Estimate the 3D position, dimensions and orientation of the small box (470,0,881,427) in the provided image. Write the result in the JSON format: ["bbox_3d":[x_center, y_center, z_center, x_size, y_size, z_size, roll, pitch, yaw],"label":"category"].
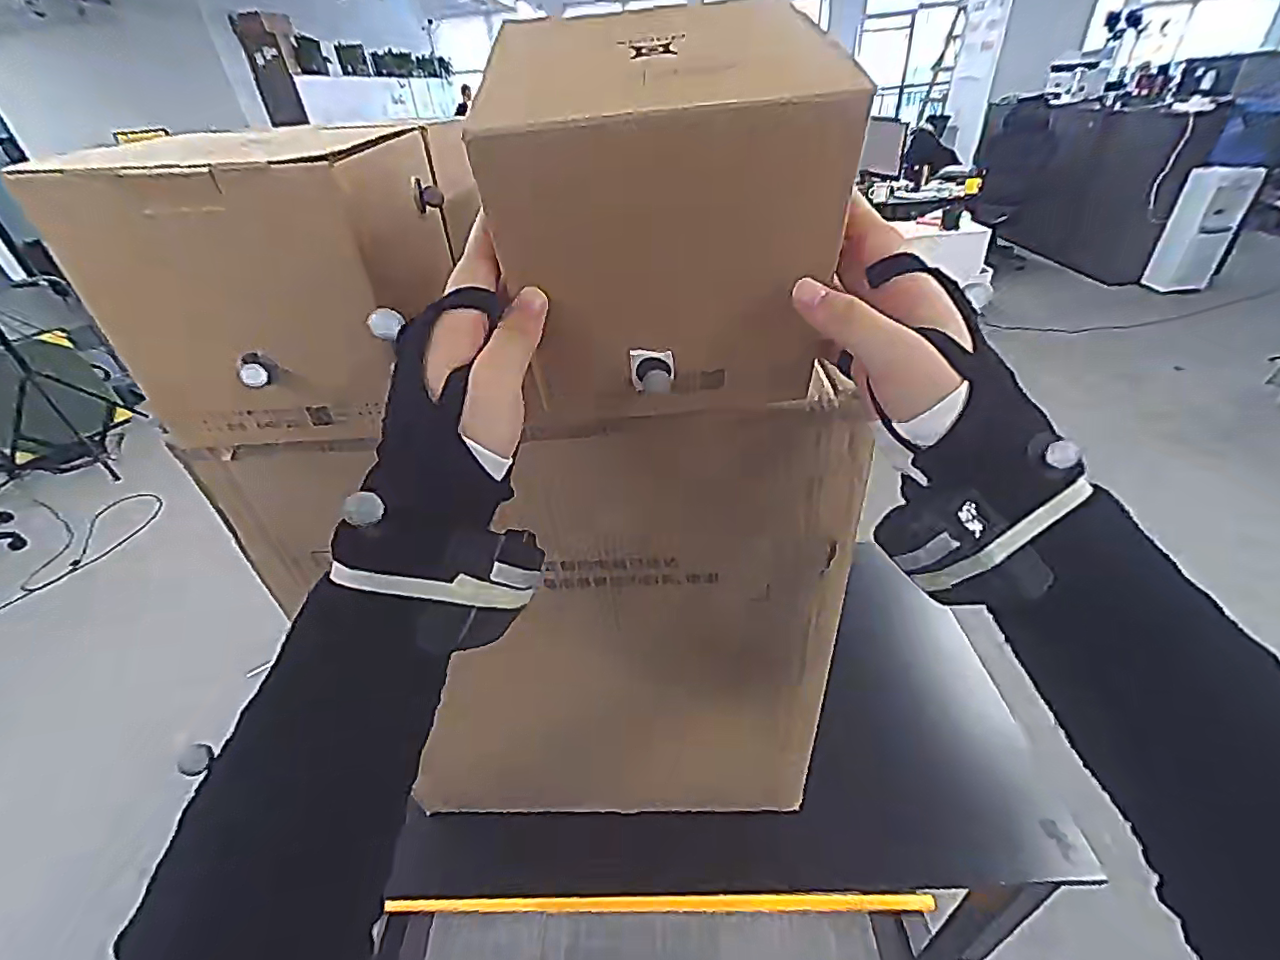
[{"bbox_3d":[0.014,-0.156,0.326,0.168,0.176,0.179,-7,51,1],"label":"small box"}]
